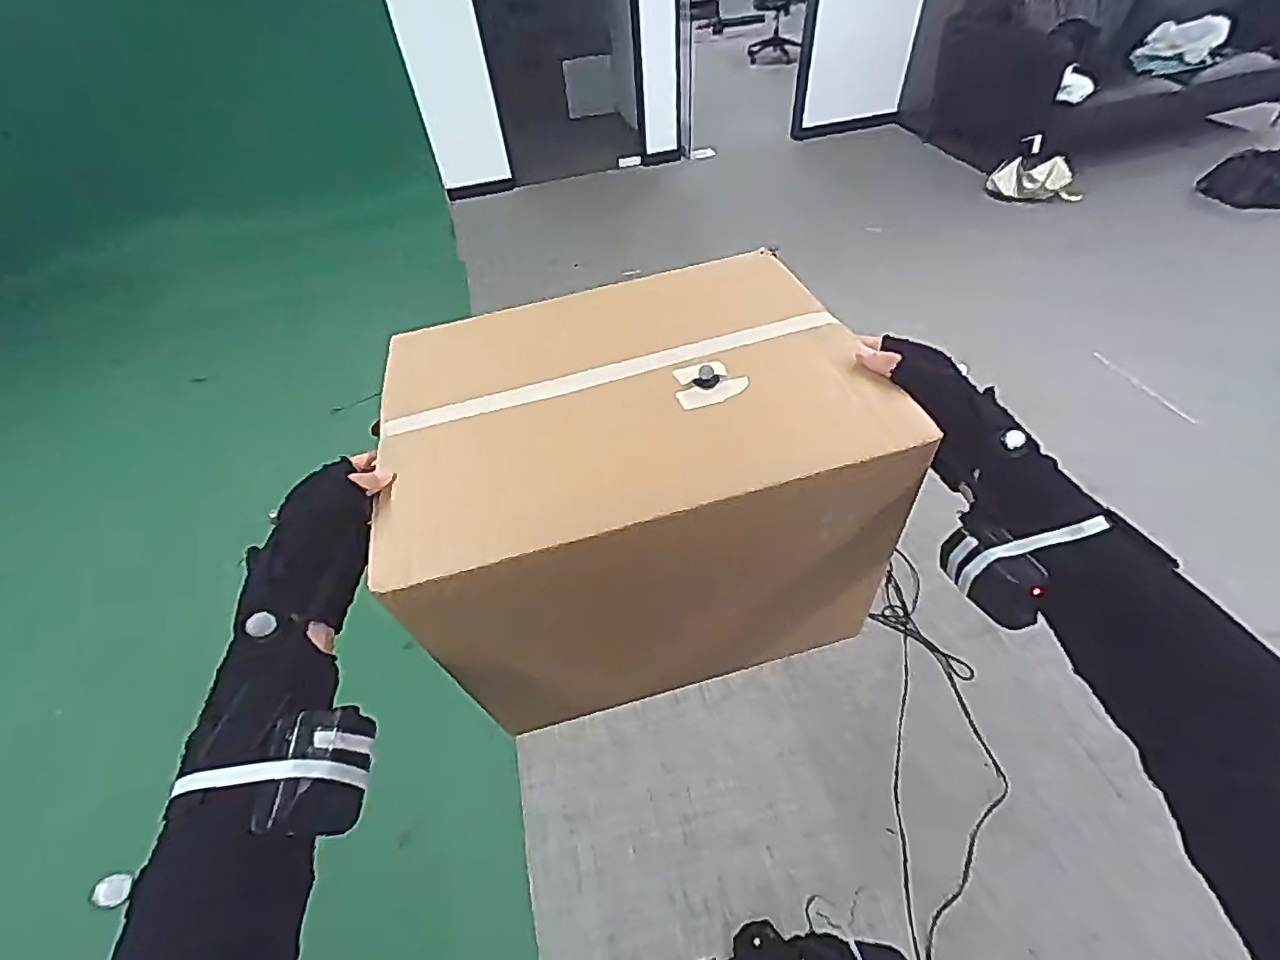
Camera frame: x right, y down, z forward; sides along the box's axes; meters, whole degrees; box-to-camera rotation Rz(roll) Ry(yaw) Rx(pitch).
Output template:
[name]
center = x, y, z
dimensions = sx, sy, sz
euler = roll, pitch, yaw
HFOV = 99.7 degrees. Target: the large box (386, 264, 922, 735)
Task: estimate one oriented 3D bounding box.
[large box]
center = -0.003, 0.019, 0.584
dimensions = 0.408, 0.320, 0.320
euler = -15, 49, -5
